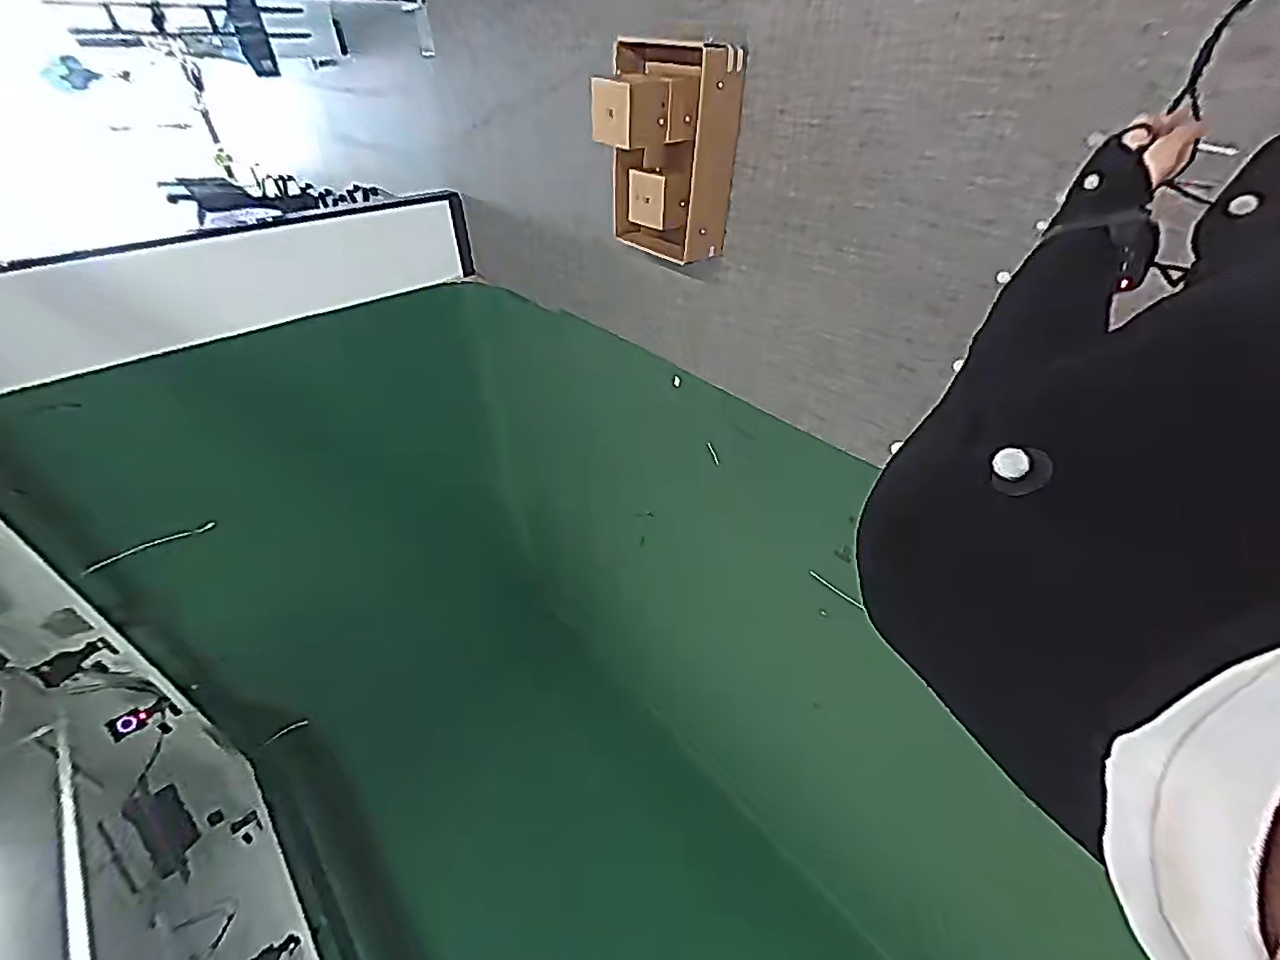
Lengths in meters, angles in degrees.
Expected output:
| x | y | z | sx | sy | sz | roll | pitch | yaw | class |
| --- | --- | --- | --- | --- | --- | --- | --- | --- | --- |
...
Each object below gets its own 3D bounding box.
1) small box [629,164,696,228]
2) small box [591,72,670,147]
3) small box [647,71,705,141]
| x | y | z | sx | sy | sz | roll | pitch | yaw | class |
| --- | --- | --- | --- | --- | --- | --- | --- | --- | --- |
| 0.080 | -1.009 | 1.910 | 0.179 | 0.176 | 0.168 | 34 | 139 | 33 | small box |
| -0.031 | -1.140 | 1.659 | 0.179 | 0.176 | 0.168 | 36 | 143 | 31 | small box |
| 0.091 | -1.210 | 1.743 | 0.179 | 0.176 | 0.168 | 35 | 140 | 34 | small box |
